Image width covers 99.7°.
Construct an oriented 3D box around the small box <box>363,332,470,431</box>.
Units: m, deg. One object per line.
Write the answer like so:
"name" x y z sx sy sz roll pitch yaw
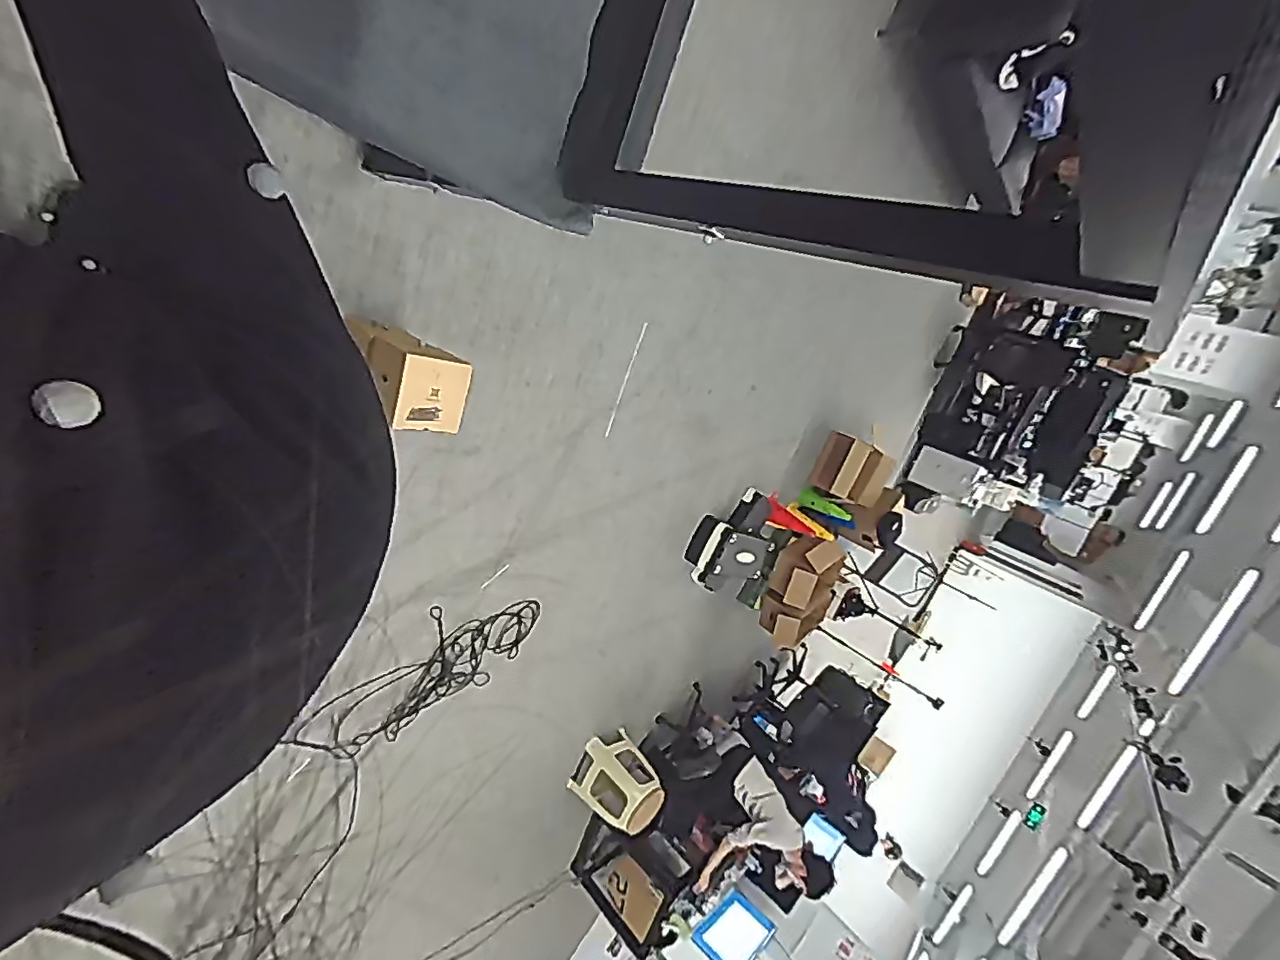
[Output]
"small box" -0.536 -0.233 1.284 0.168 0.176 0.179 1 113 -50
